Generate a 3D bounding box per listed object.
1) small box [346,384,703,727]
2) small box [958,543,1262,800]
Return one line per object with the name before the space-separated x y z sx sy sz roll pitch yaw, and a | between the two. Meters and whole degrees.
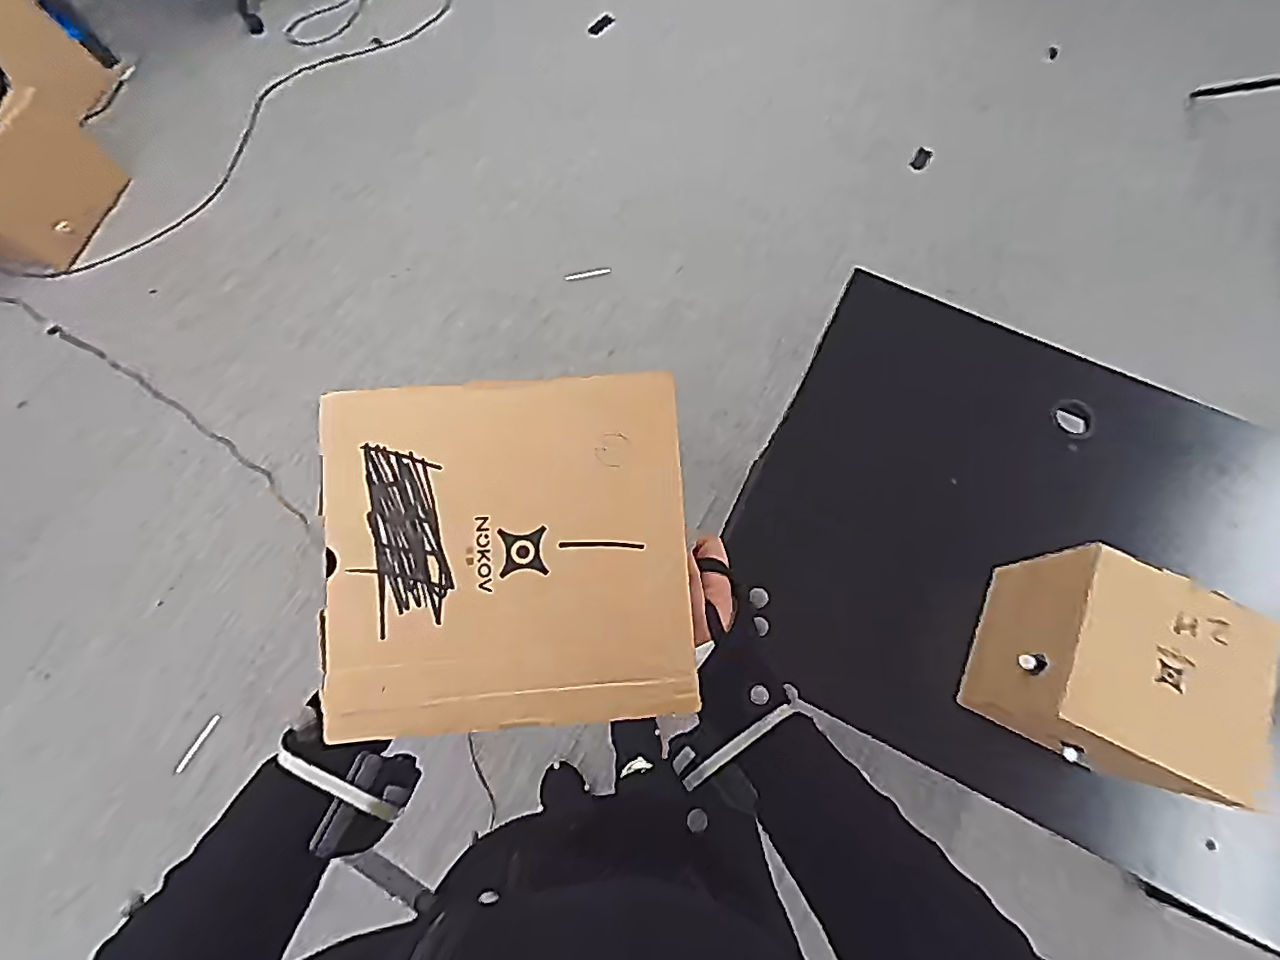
small box | -0.060 0.043 0.349 0.179 0.176 0.168 -3 85 -2
small box | 0.473 0.193 0.572 0.168 0.176 0.179 25 73 8
